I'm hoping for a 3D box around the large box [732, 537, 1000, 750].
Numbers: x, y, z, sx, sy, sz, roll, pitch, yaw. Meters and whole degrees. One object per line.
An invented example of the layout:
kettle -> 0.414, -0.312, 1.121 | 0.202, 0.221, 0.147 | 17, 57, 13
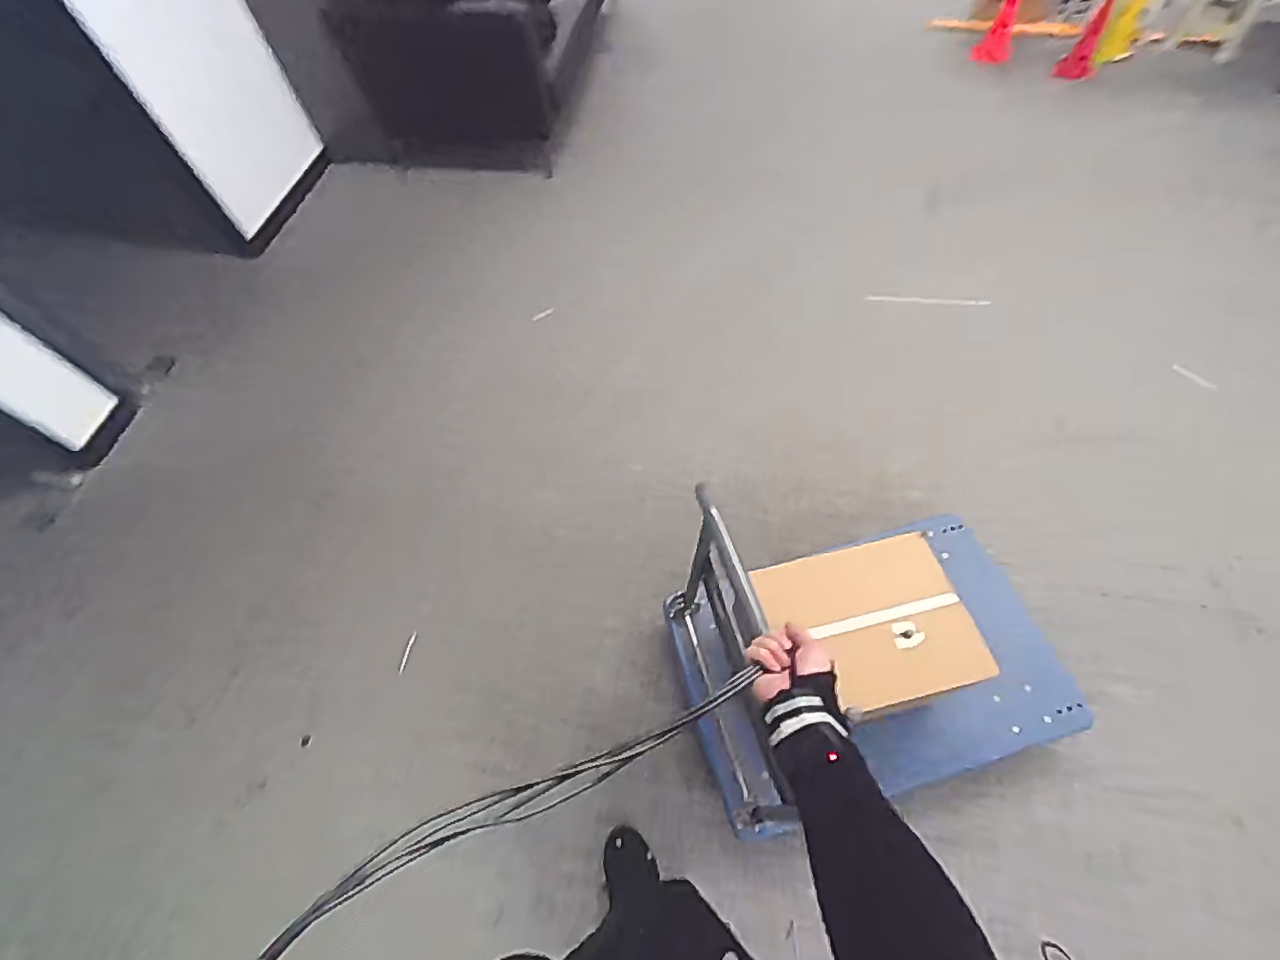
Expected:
large box -> 0.453, 0.369, 1.193 | 0.408, 0.320, 0.320 | -12, 59, -5
